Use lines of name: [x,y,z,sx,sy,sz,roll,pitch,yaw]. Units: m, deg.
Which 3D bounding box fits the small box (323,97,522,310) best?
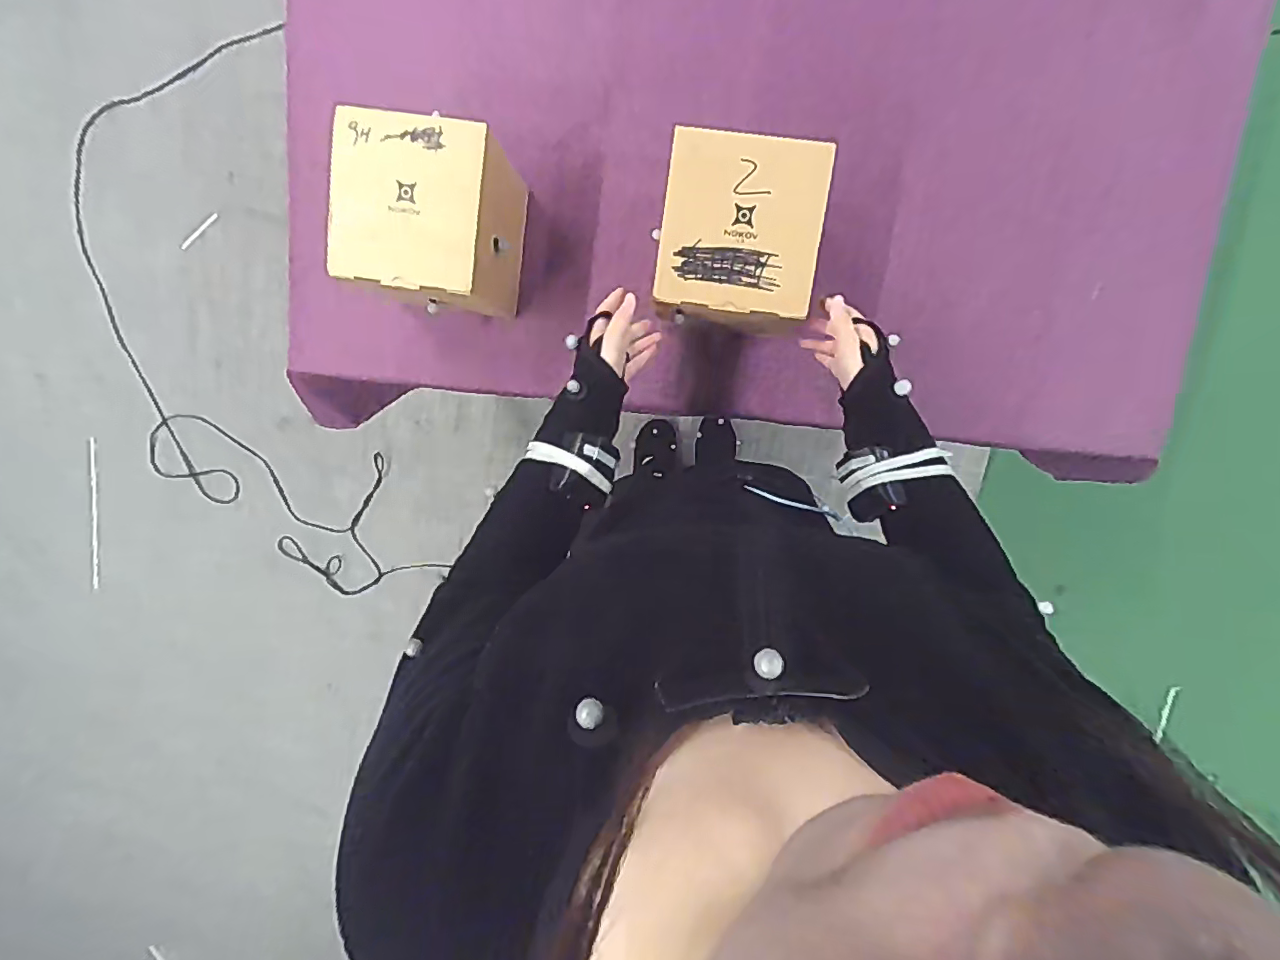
small box: [-0.249,-0.313,0.651,0.168,0.176,0.179,9,99,1]
